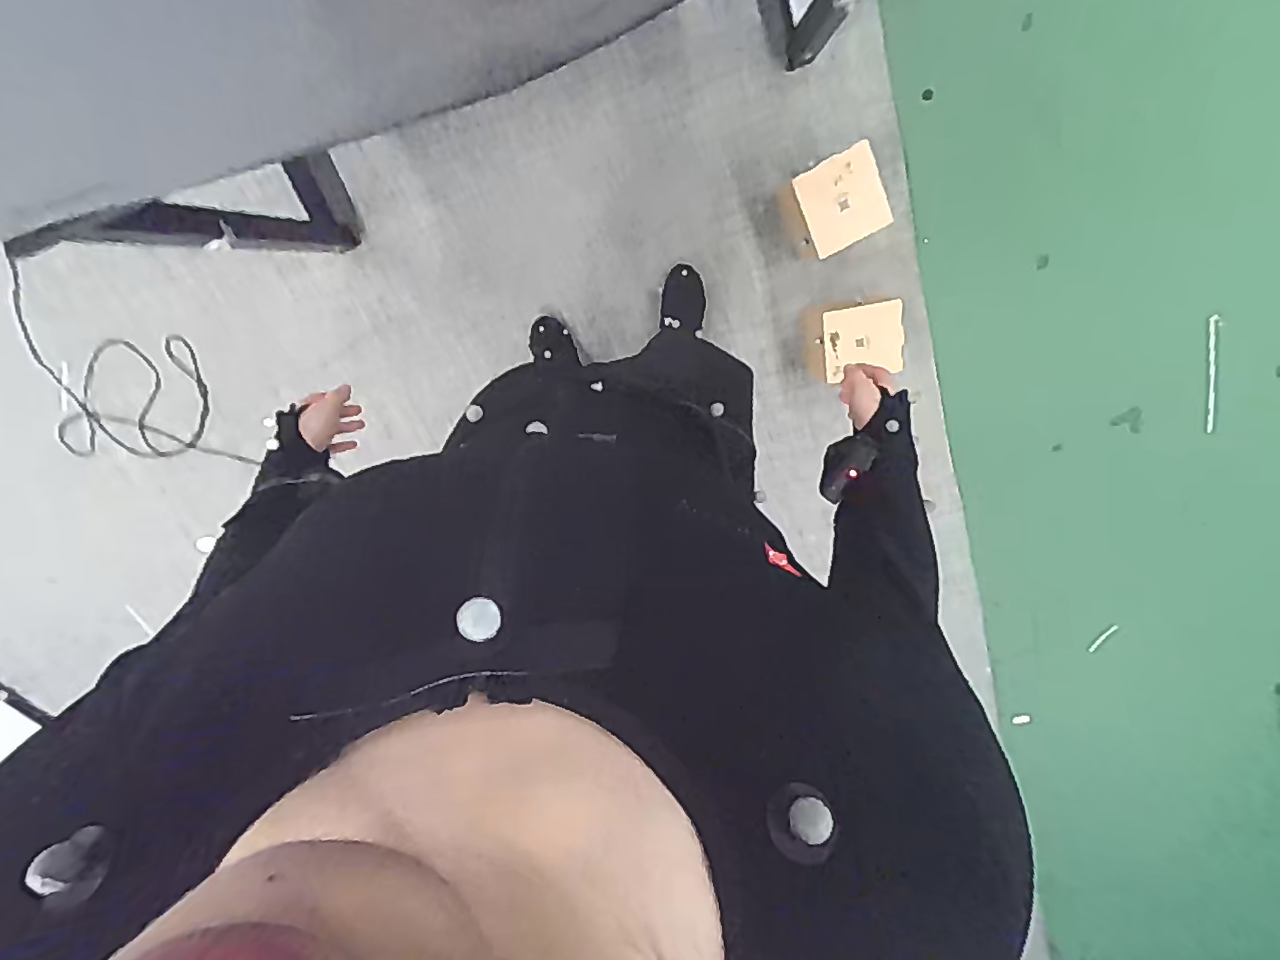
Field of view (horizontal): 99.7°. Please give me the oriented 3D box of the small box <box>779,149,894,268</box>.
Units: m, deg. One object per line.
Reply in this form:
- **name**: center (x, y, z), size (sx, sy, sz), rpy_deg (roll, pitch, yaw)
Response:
- **small box**: center (0.428, -0.590, 1.196), size (0.168, 0.176, 0.179), rpy_deg (-25, 108, 10)

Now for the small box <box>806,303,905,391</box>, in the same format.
- **small box**: center (0.511, -0.323, 1.296), size (0.179, 0.176, 0.168), rpy_deg (-9, 111, 5)
